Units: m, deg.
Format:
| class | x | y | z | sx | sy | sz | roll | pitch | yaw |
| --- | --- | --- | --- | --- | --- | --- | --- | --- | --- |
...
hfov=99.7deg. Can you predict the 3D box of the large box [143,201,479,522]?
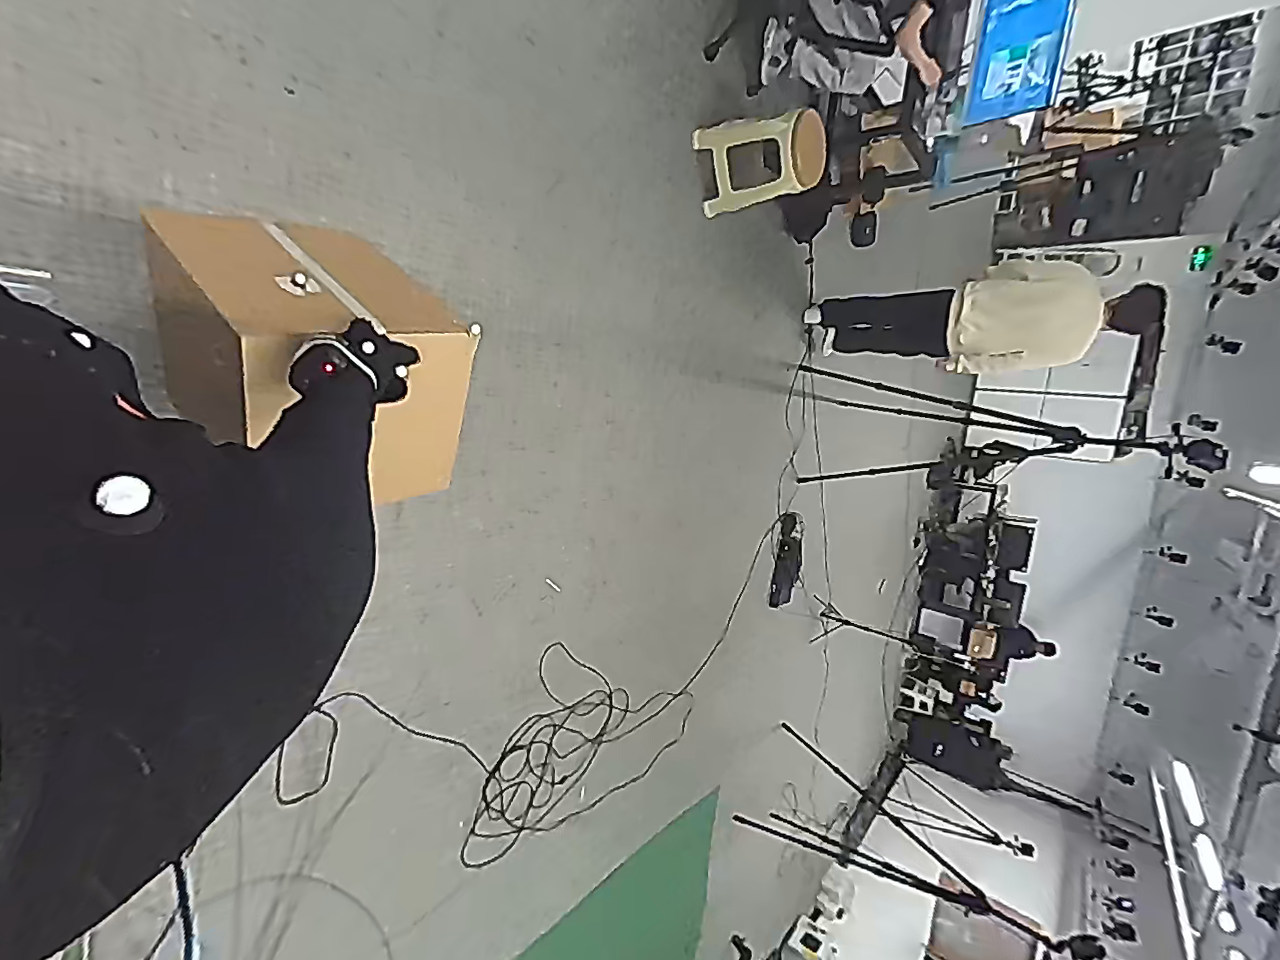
| class | x | y | z | sx | sy | sz | roll | pitch | yaw |
| --- | --- | --- | --- | --- | --- | --- | --- | --- | --- |
| large box | -0.536 | -0.199 | 0.886 | 0.320 | 0.408 | 0.320 | -20 | 143 | -47 |
